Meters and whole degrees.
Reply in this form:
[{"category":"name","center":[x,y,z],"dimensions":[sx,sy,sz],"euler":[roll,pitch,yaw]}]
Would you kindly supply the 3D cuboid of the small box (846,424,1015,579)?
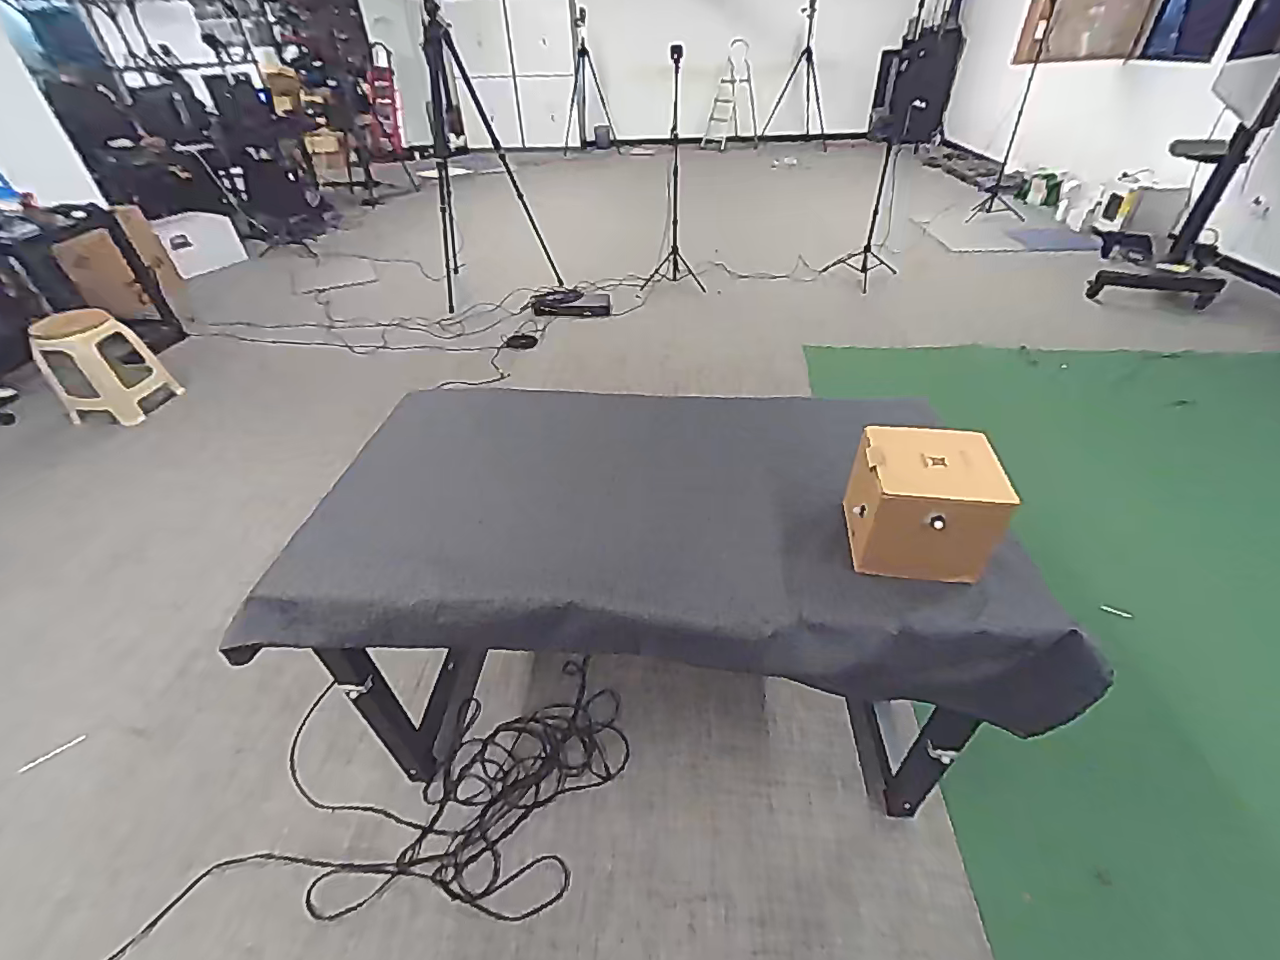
[{"category":"small box","center":[0.422,0.033,0.828],"dimensions":[0.179,0.176,0.168],"euler":[5,41,9]}]
